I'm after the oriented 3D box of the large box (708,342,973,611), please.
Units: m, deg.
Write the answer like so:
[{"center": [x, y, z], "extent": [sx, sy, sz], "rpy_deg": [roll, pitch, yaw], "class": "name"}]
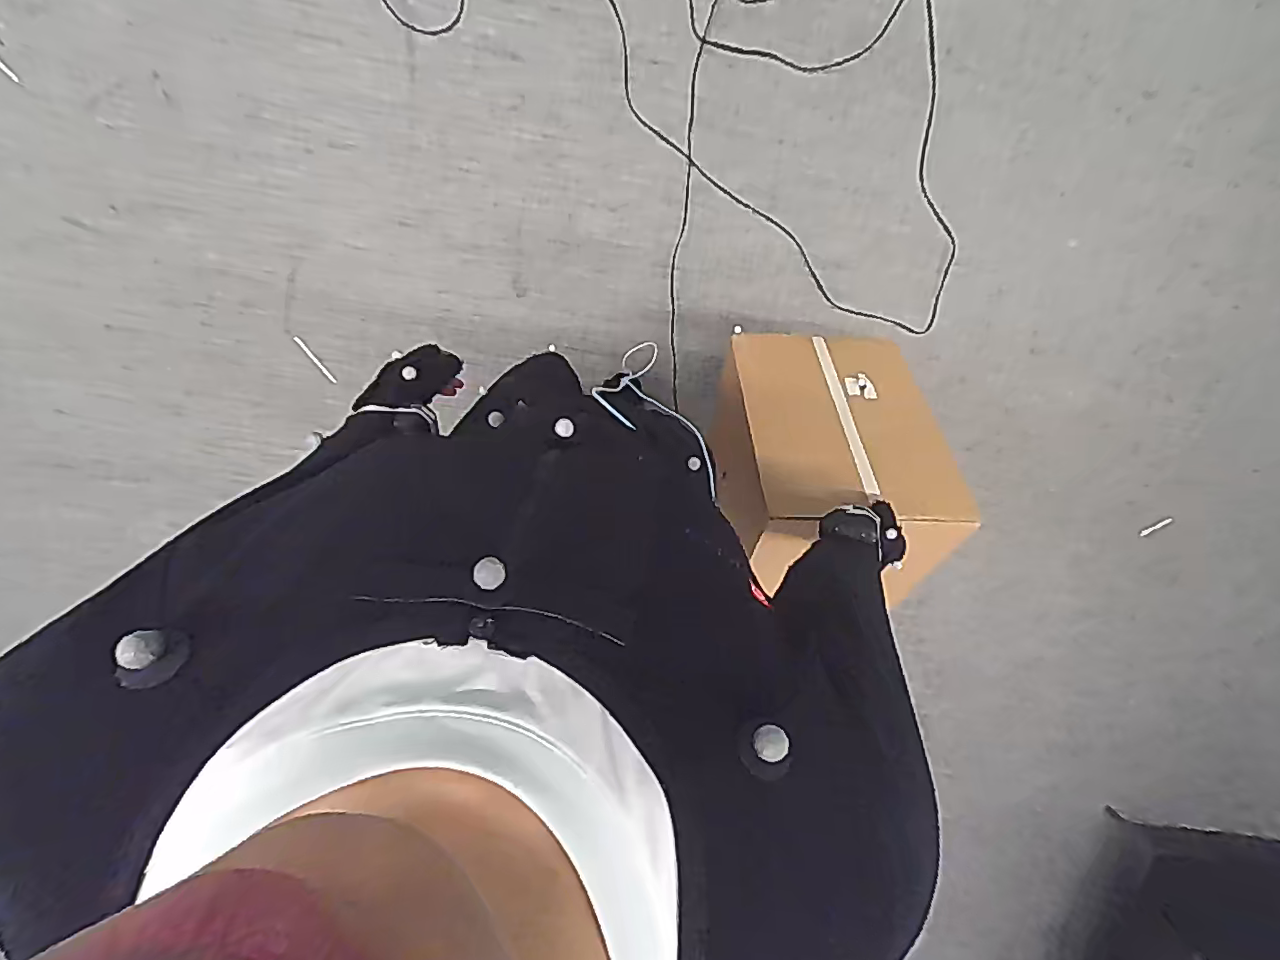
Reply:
[{"center": [0.317, -0.003, 1.006], "extent": [0.320, 0.408, 0.320], "rpy_deg": [2, 142, -4], "class": "large box"}]
